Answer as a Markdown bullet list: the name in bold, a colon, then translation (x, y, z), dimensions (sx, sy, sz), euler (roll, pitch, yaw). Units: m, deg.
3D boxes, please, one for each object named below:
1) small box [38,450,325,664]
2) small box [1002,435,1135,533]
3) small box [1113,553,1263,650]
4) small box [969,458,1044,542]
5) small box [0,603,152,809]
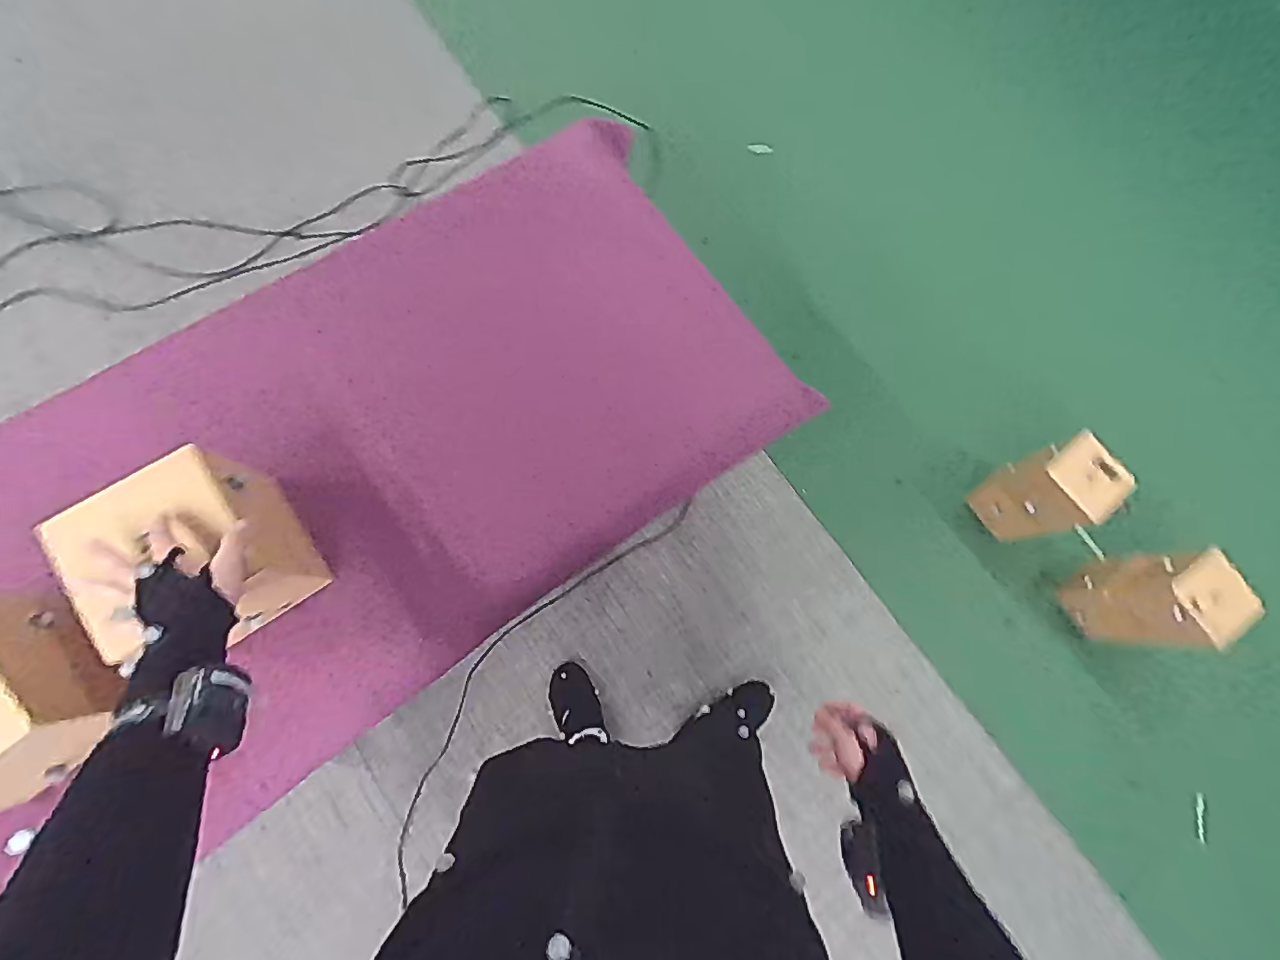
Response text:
- **small box**: translation (-0.527, 0.097, 0.650), dimensions (0.168, 0.176, 0.179), euler (-34, 81, -12)
- **small box**: translation (1.097, 0.017, 1.399), dimensions (0.179, 0.176, 0.168), euler (-37, 81, -11)
- **small box**: translation (1.352, 0.301, 1.347), dimensions (0.179, 0.176, 0.168), euler (-31, 81, -12)
- **small box**: translation (1.093, 0.062, 1.558), dimensions (0.179, 0.176, 0.168), euler (-34, 80, -13)
- **small box**: translation (-0.715, 0.253, 0.594), dimensions (0.168, 0.176, 0.179), euler (-40, 83, -13)
